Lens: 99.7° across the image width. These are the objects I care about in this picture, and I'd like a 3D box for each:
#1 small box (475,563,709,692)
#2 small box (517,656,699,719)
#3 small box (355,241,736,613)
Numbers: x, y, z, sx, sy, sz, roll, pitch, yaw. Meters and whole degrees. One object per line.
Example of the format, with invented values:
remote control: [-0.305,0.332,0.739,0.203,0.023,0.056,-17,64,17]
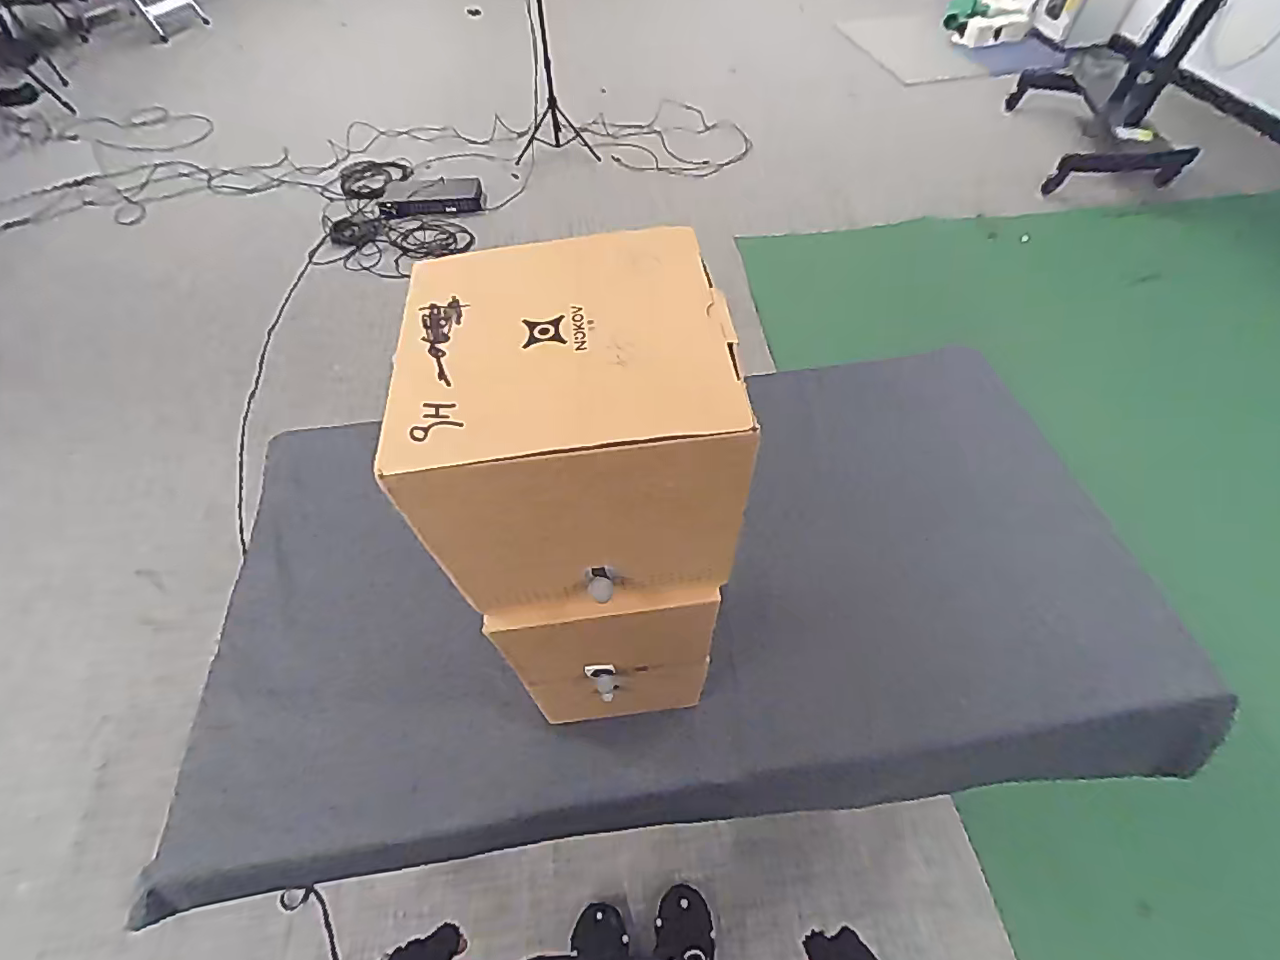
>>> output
small box: [-0.039,0.071,0.485,0.168,0.176,0.179,-8,56,-2]
small box: [-0.034,0.163,0.617,0.179,0.176,0.168,-5,55,-3]
small box: [-0.047,-0.027,0.354,0.179,0.176,0.168,-7,55,-2]
